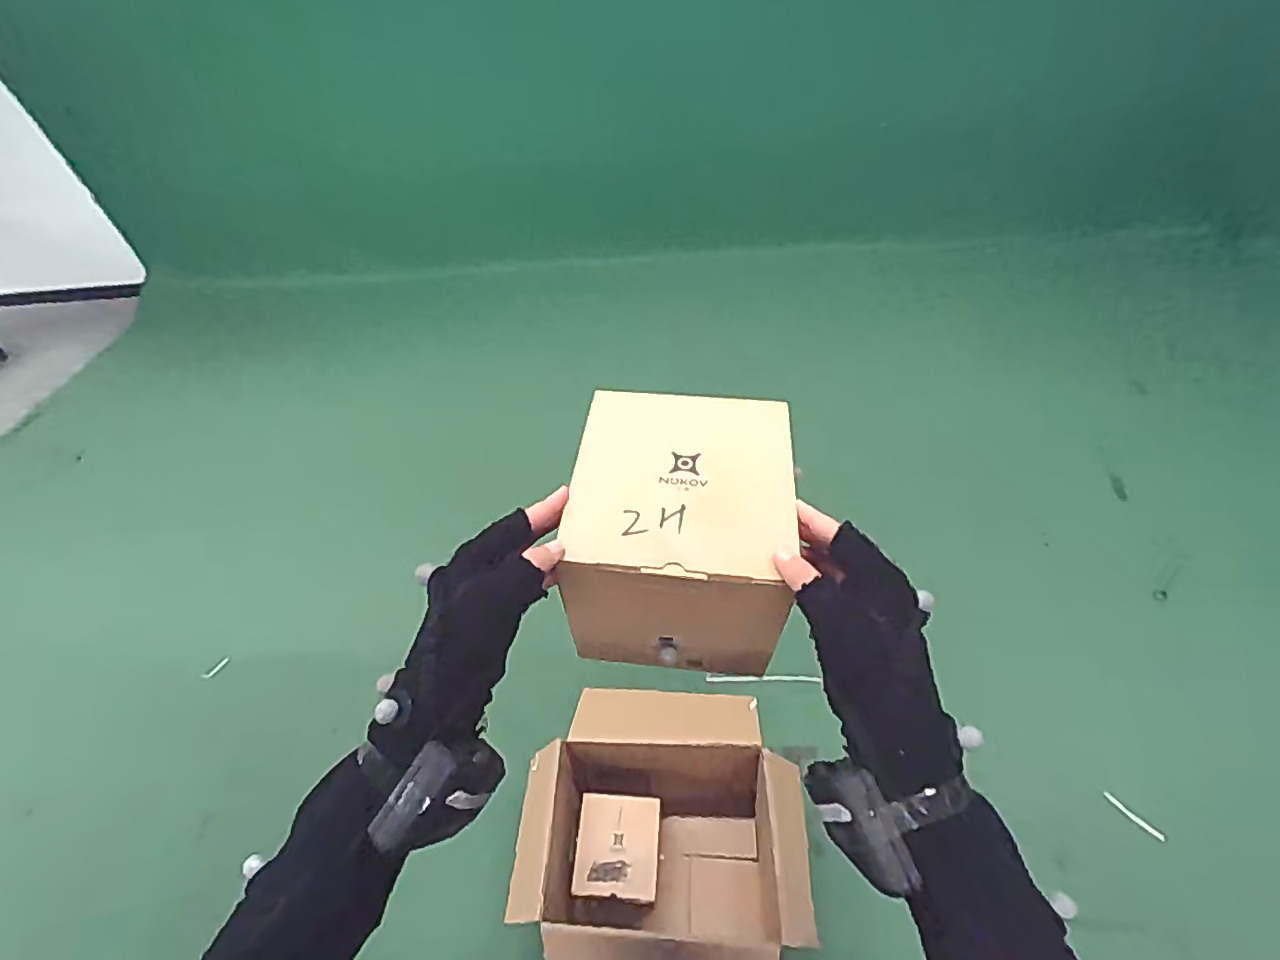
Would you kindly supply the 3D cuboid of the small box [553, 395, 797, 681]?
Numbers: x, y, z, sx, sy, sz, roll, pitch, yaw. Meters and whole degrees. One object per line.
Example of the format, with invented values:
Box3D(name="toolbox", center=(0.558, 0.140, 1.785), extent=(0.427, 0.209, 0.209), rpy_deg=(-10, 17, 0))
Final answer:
Box3D(name="small box", center=(0.032, 0.050, 0.469), extent=(0.168, 0.176, 0.179), rpy_deg=(4, 50, 5))
